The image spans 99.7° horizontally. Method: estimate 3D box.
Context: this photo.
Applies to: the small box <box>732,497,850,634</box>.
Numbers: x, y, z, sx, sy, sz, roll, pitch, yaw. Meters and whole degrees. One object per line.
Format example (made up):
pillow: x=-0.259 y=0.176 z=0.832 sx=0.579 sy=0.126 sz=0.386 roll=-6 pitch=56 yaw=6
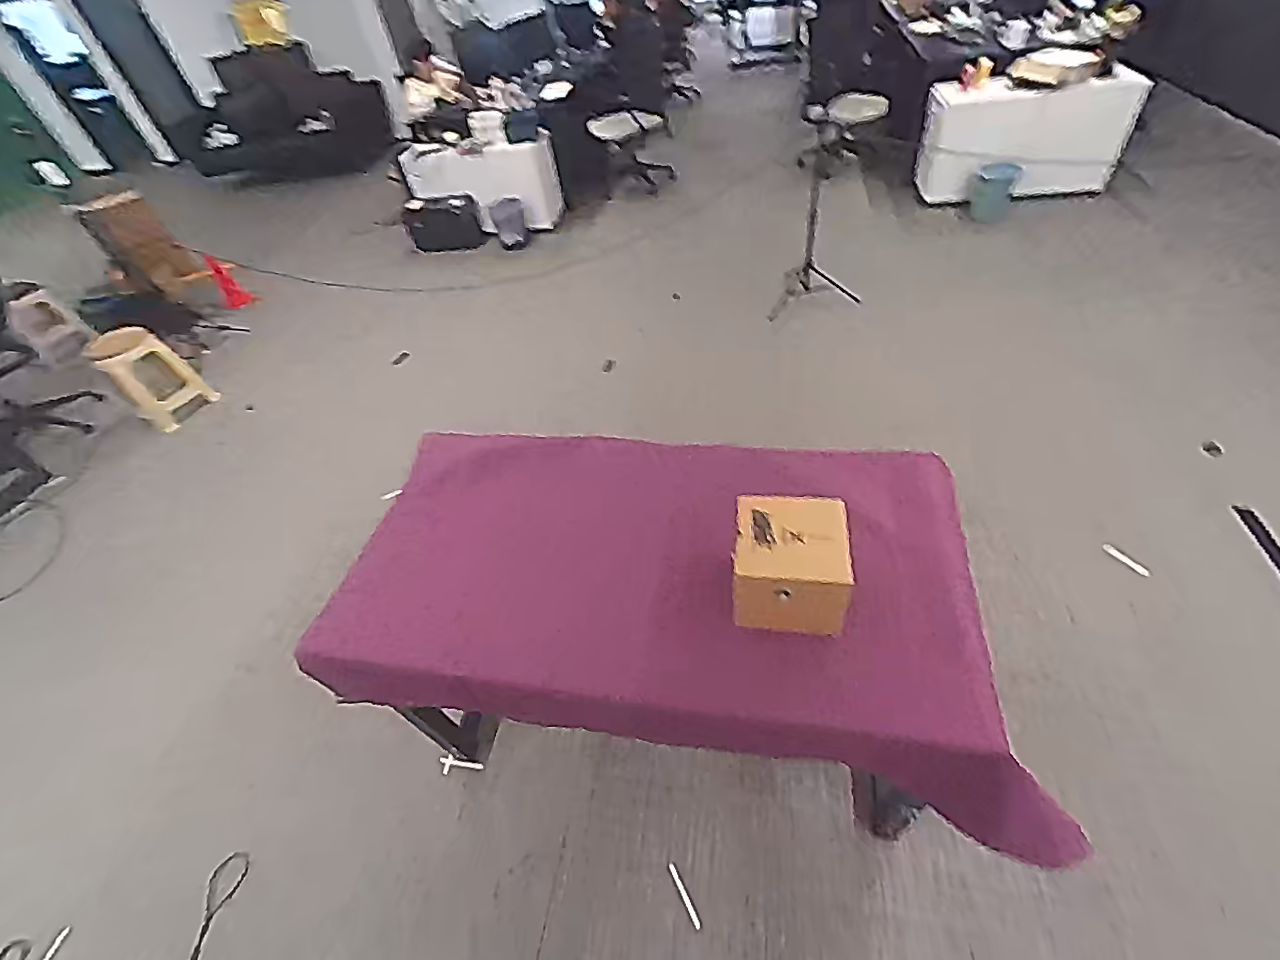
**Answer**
small box: x=0.252 y=0.148 z=0.927 sx=0.179 sy=0.176 sz=0.168 roll=2 pitch=48 yaw=12
